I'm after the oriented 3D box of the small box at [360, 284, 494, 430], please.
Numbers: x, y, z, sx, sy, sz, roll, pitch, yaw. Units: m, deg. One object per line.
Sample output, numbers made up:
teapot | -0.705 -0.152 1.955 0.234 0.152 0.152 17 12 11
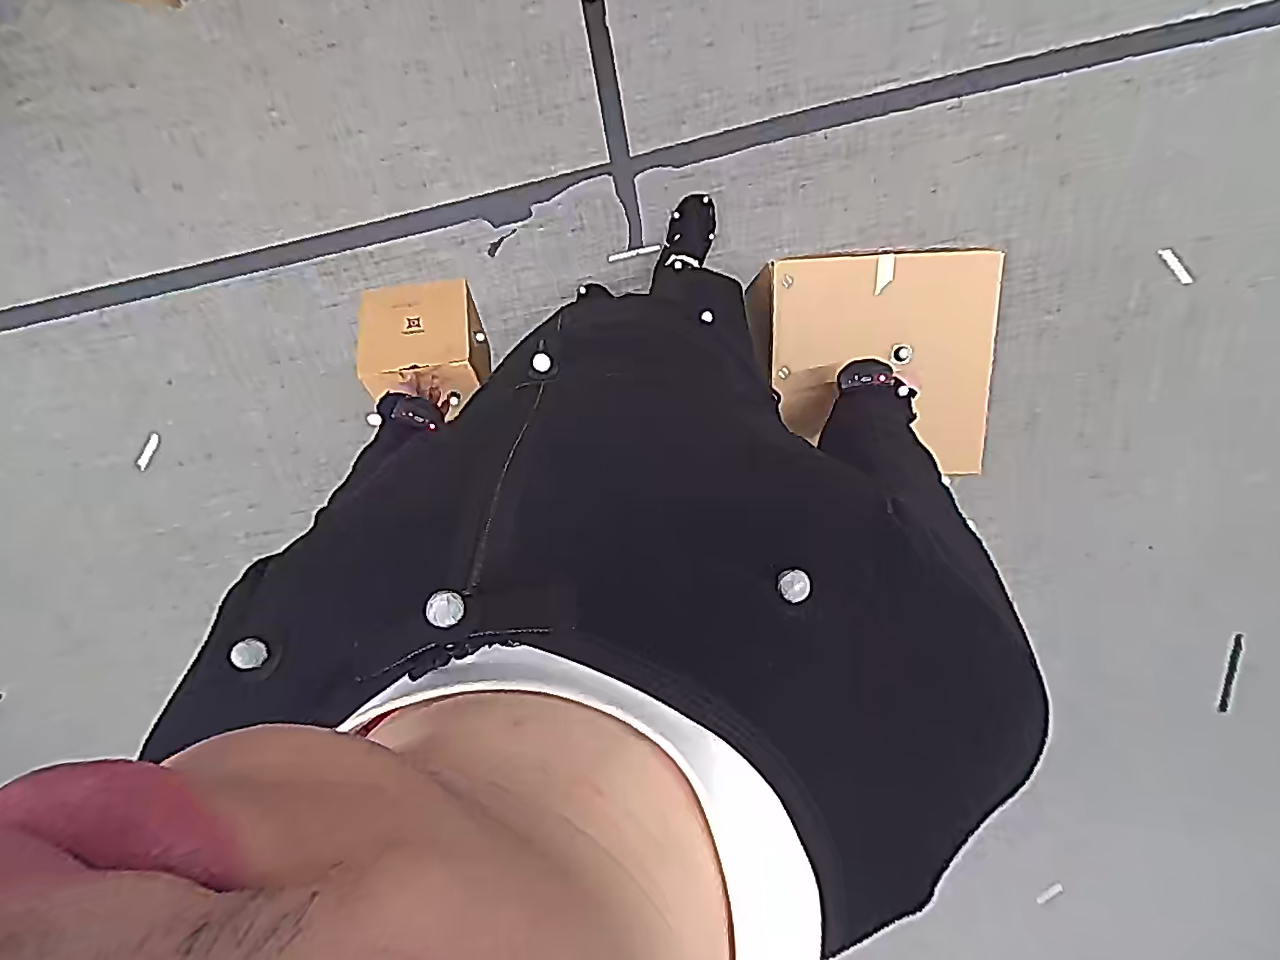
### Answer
small box | -0.349 -0.199 0.916 0.168 0.179 0.176 -9 153 -5
